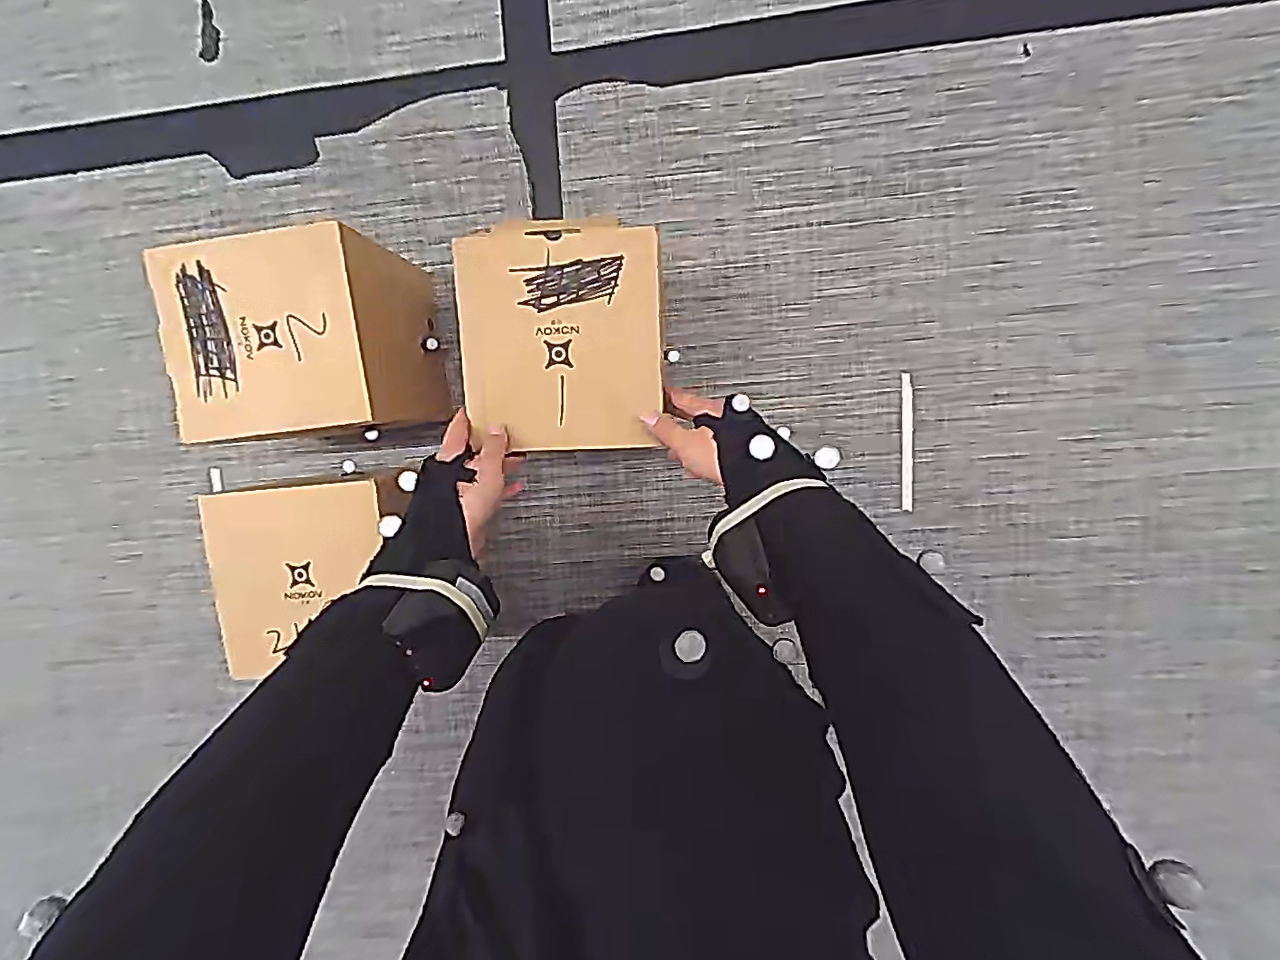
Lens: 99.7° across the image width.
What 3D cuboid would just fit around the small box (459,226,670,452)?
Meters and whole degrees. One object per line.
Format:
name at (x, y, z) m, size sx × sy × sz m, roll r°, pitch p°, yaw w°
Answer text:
small box at (-0.057, -0.120, 0.513) m, size 0.168 × 0.176 × 0.179 m, roll -2°, pitch 97°, yaw 4°
